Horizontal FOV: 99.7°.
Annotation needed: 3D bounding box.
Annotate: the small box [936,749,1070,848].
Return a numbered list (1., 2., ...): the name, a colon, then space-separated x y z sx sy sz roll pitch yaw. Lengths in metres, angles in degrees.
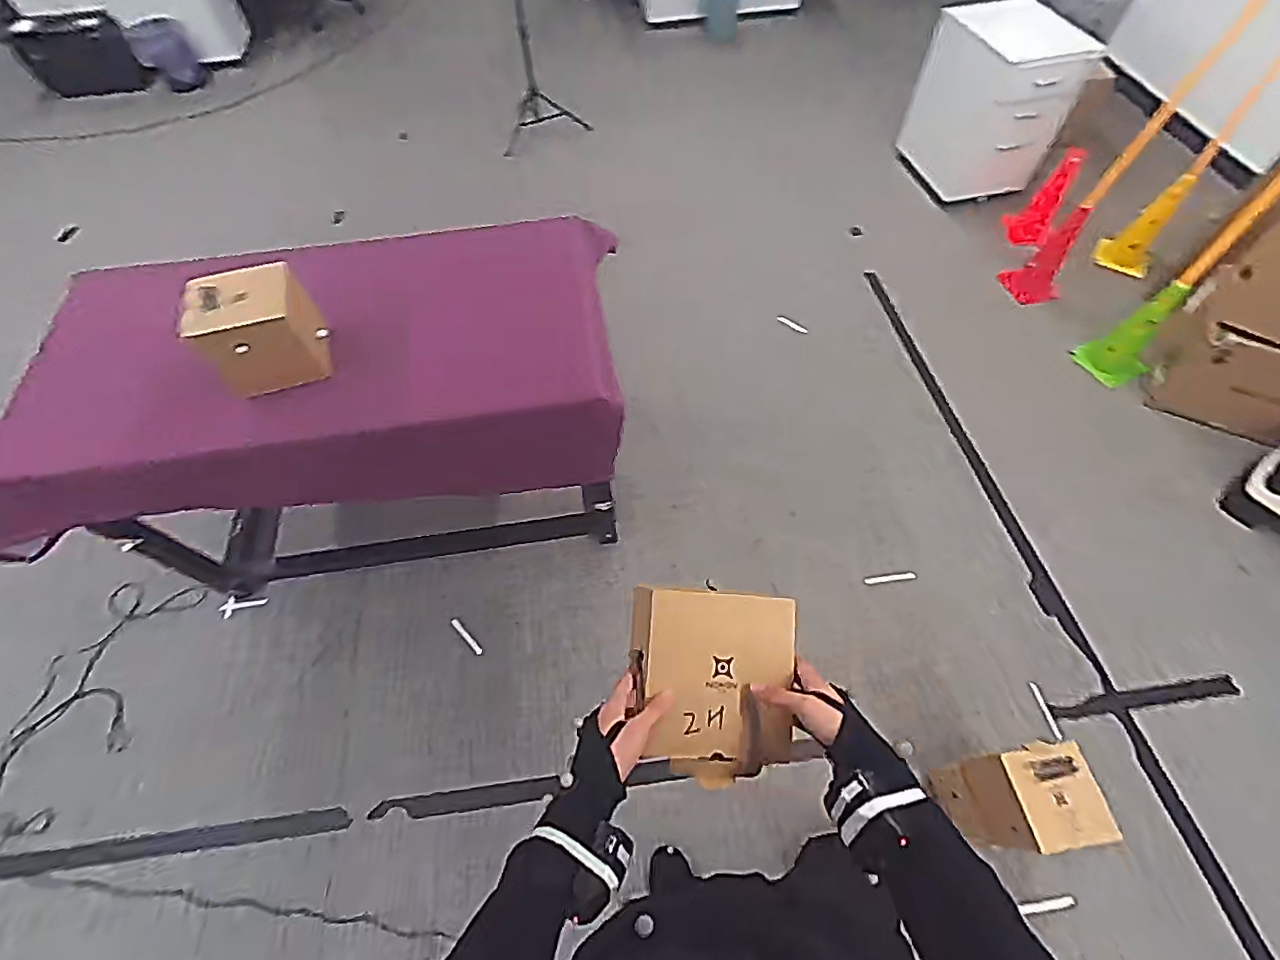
1. small box: 0.826 0.742 1.261 0.179 0.176 0.168 -11 59 -5

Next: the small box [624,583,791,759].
1. small box: 0.072 0.219 0.659 0.168 0.176 0.179 5 81 -6

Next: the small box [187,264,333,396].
1. small box: -0.744 -0.292 1.077 0.179 0.176 0.168 -17 60 -9
